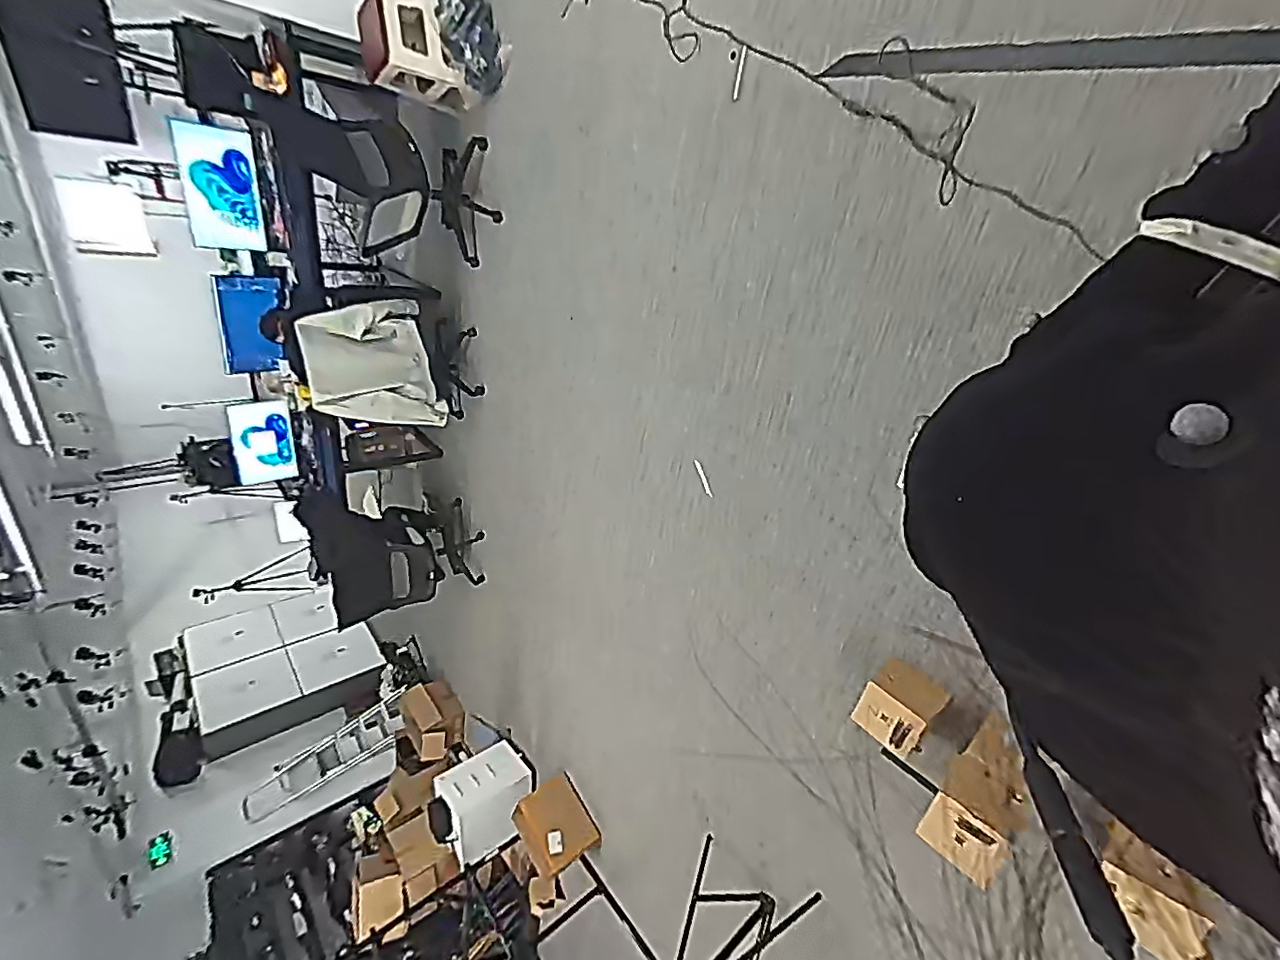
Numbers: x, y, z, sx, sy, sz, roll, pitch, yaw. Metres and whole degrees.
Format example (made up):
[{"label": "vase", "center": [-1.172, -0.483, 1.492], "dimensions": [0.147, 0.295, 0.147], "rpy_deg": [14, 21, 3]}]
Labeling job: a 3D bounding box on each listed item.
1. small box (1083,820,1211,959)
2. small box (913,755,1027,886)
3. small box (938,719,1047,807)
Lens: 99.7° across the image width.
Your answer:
[{"label": "small box", "center": [1.146, 0.922, 1.222], "dimensions": [0.179, 0.176, 0.168], "rpy_deg": [18, 115, 44]}, {"label": "small box", "center": [0.809, 0.820, 1.320], "dimensions": [0.168, 0.176, 0.179], "rpy_deg": [32, 125, 39]}, {"label": "small box", "center": [0.930, 0.777, 1.423], "dimensions": [0.168, 0.176, 0.179], "rpy_deg": [36, 126, 37]}]
